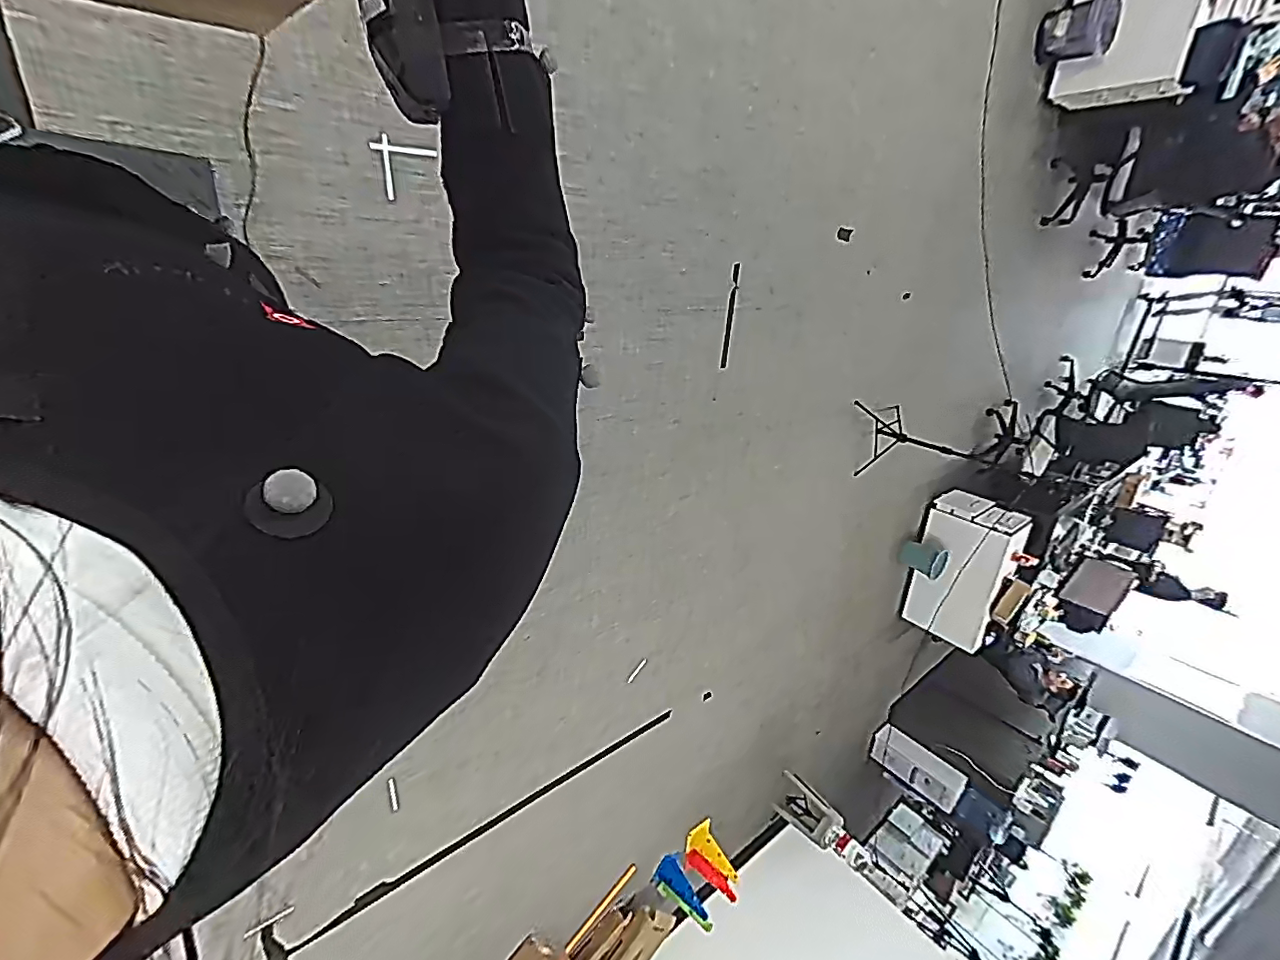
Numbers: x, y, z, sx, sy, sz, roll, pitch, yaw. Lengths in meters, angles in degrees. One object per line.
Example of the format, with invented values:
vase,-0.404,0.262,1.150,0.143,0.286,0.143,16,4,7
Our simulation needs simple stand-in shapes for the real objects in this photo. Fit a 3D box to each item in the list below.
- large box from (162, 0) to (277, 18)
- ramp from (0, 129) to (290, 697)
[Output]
large box,-0.379,-0.416,0.187,0.408,0.320,0.320,-18,128,-35
ramp,-1.045,-0.115,1.043,0.509,0.206,0.991,-13,116,-36
